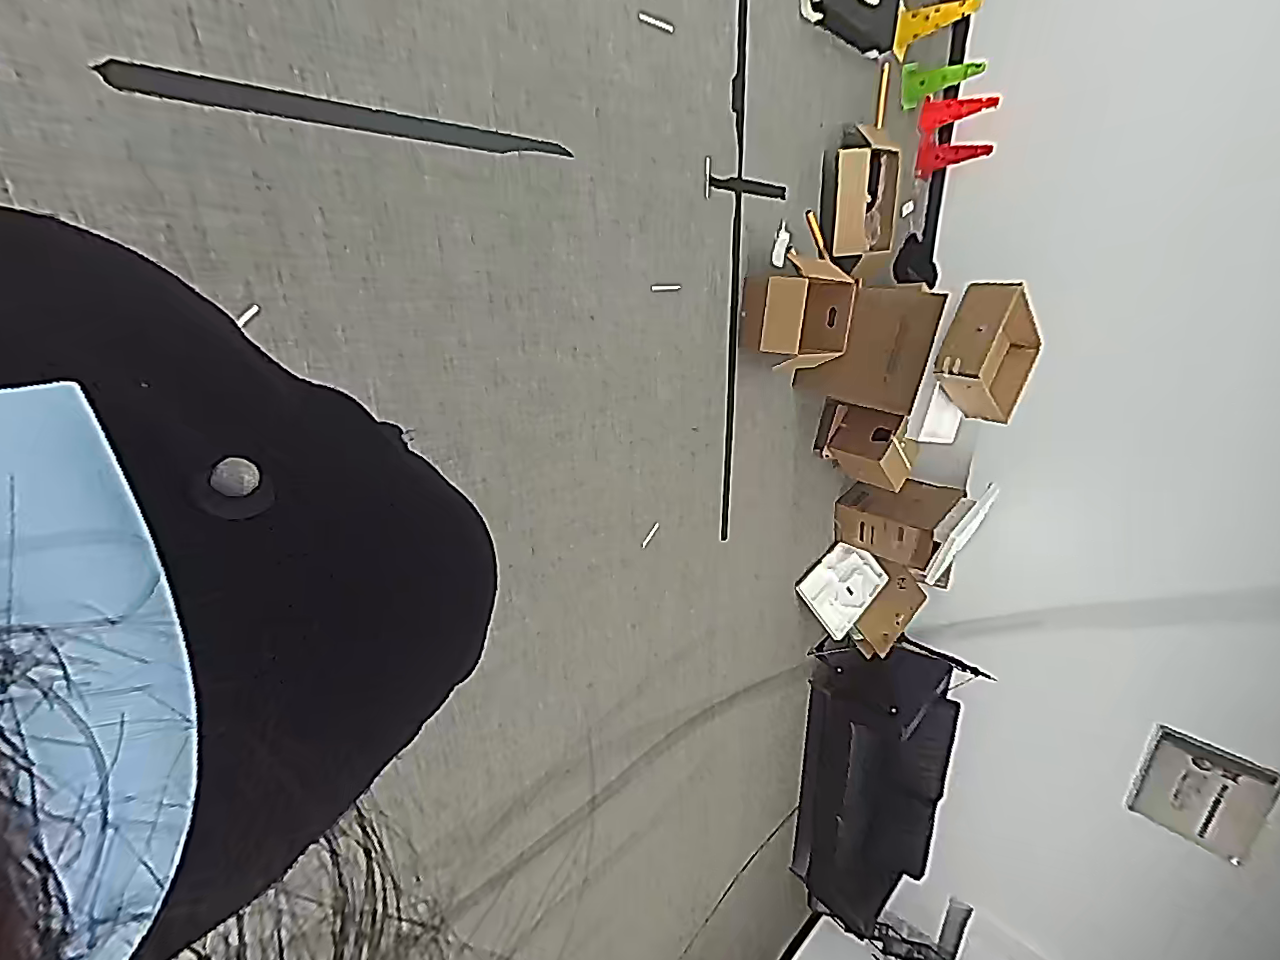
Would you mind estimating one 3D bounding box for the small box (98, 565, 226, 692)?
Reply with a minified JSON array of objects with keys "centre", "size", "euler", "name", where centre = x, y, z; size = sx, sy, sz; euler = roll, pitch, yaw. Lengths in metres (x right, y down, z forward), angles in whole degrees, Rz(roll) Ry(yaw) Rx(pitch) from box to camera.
[{"centre":[-1.033,0.313,1.175],"size":[0.168,0.176,0.179],"euler":[-21,118,-39],"name":"small box"}]
